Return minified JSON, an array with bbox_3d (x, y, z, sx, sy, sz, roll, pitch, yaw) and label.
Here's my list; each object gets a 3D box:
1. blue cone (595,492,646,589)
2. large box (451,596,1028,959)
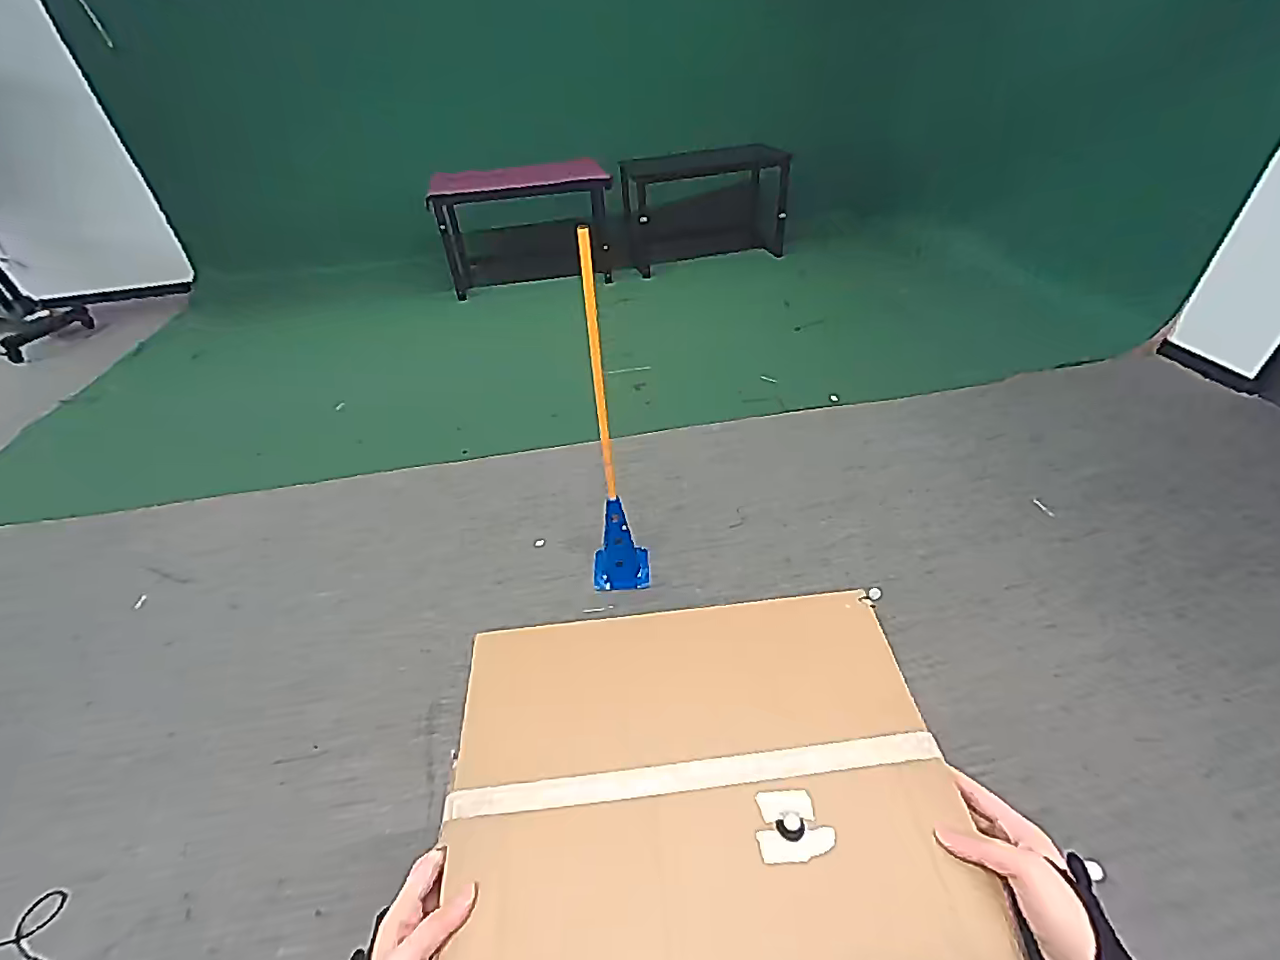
[{"bbox_3d":[-0.082,0.203,1.911,0.193,0.380,0.192,-2,39,2],"label":"blue cone"},{"bbox_3d":[0.058,0.355,0.561,0.408,0.320,0.320,-5,45,-2],"label":"large box"}]
